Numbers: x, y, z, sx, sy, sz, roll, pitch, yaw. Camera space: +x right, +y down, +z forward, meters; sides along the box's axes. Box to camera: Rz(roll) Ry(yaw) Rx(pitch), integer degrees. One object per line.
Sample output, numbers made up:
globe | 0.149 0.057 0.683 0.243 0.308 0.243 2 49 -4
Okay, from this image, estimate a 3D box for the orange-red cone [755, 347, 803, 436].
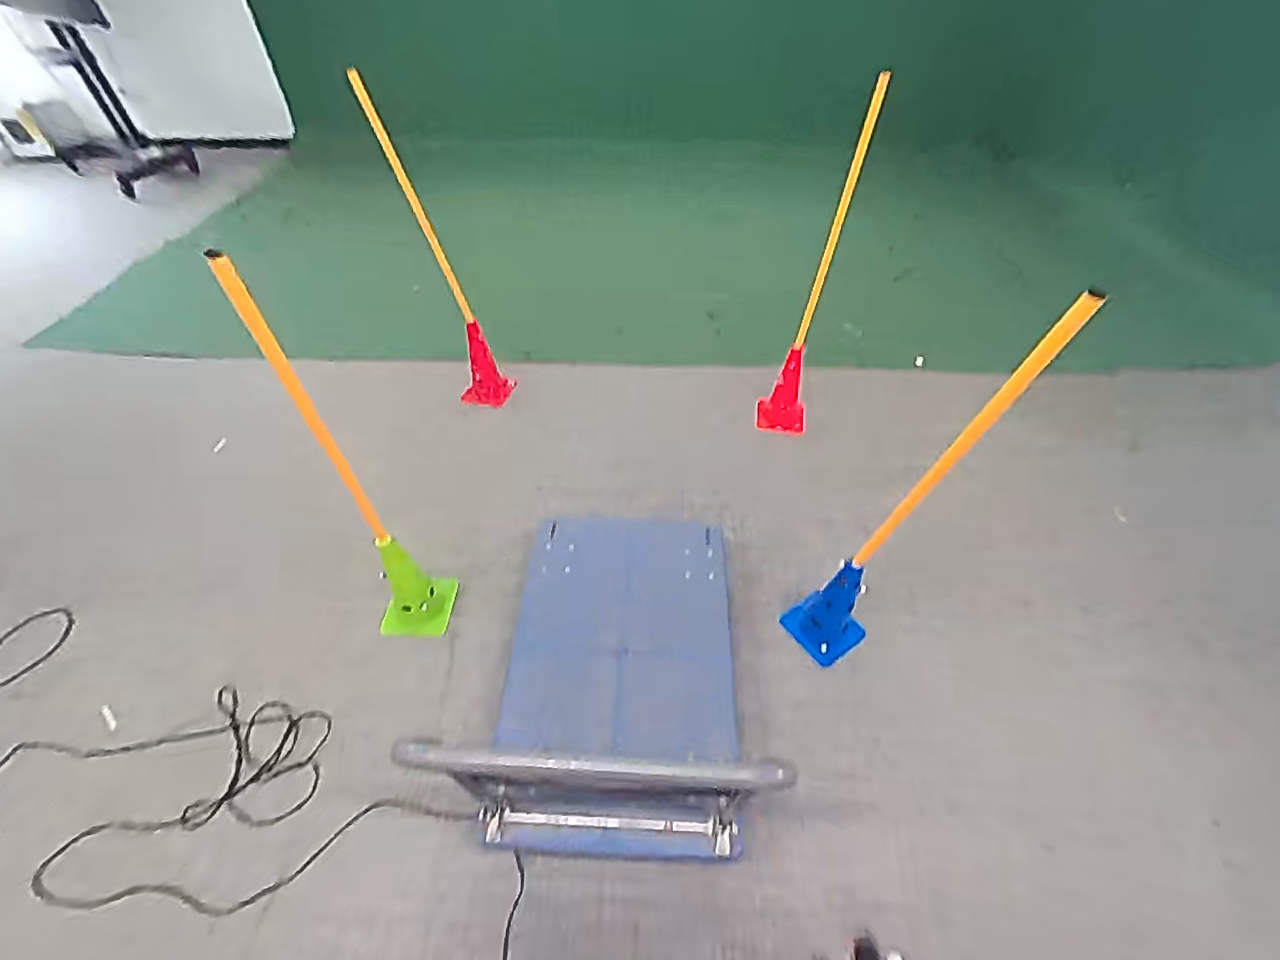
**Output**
orange-red cone | 0.597 -0.377 2.195 0.198 0.360 0.199 9 48 9
